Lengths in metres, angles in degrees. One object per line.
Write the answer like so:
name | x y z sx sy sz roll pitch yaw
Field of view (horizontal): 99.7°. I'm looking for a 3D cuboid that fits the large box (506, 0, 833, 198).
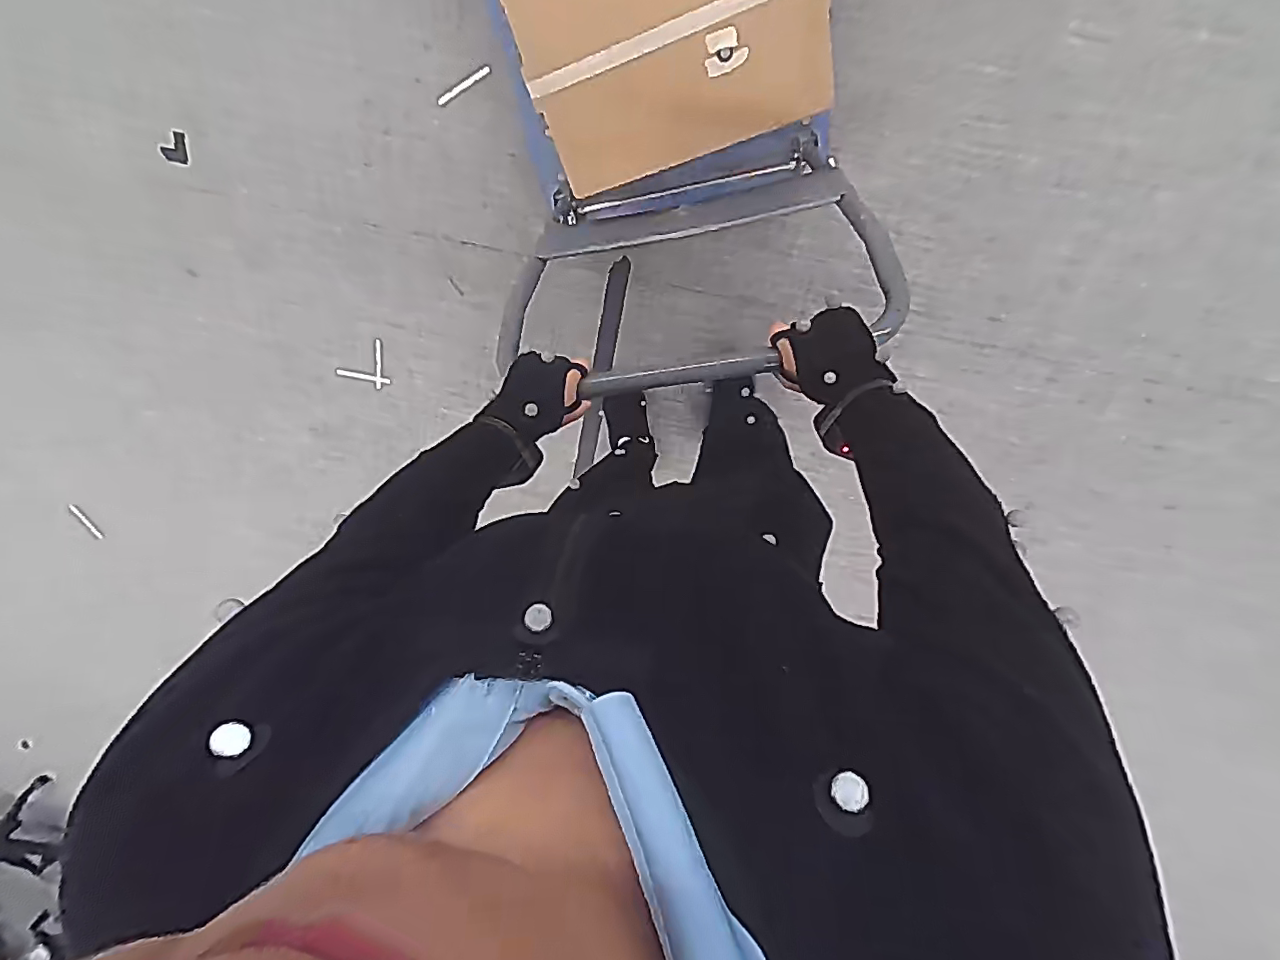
large box | 0.048 -0.707 0.853 0.408 0.320 0.320 -13 129 14
